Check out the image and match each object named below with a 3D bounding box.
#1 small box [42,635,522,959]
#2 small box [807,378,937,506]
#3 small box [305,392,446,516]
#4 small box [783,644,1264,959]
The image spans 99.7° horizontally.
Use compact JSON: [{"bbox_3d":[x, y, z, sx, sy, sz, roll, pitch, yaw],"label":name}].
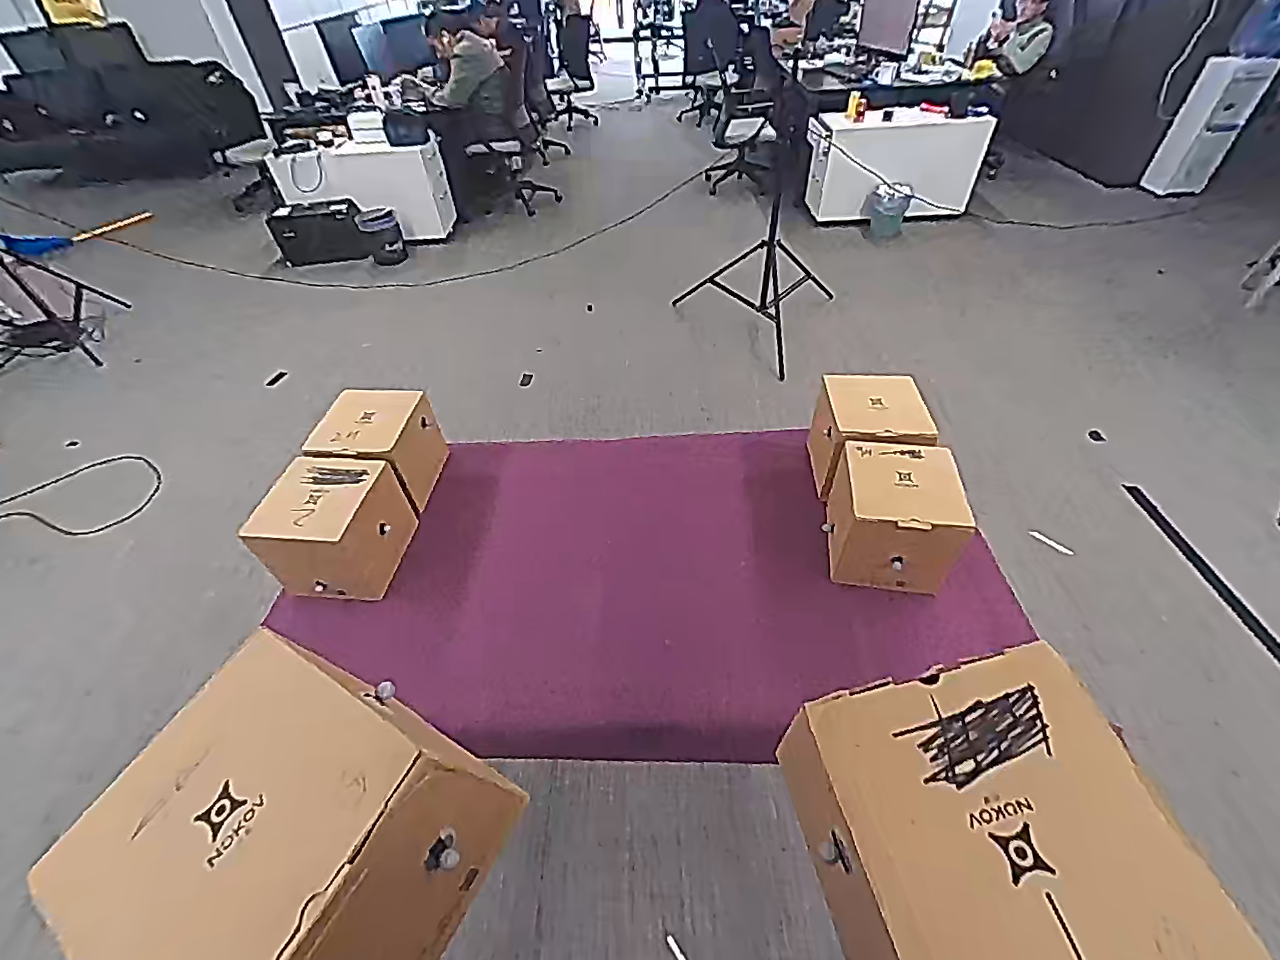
[{"bbox_3d":[-0.211,0.240,0.367,0.179,0.176,0.168,18,58,27],"label":"small box"},{"bbox_3d":[0.422,-0.072,1.019,0.168,0.176,0.179,2,45,4],"label":"small box"},{"bbox_3d":[-0.496,-0.052,1.049,0.168,0.176,0.179,1,46,5],"label":"small box"},{"bbox_3d":[0.206,0.236,0.356,0.168,0.176,0.179,-14,55,-3],"label":"small box"}]
